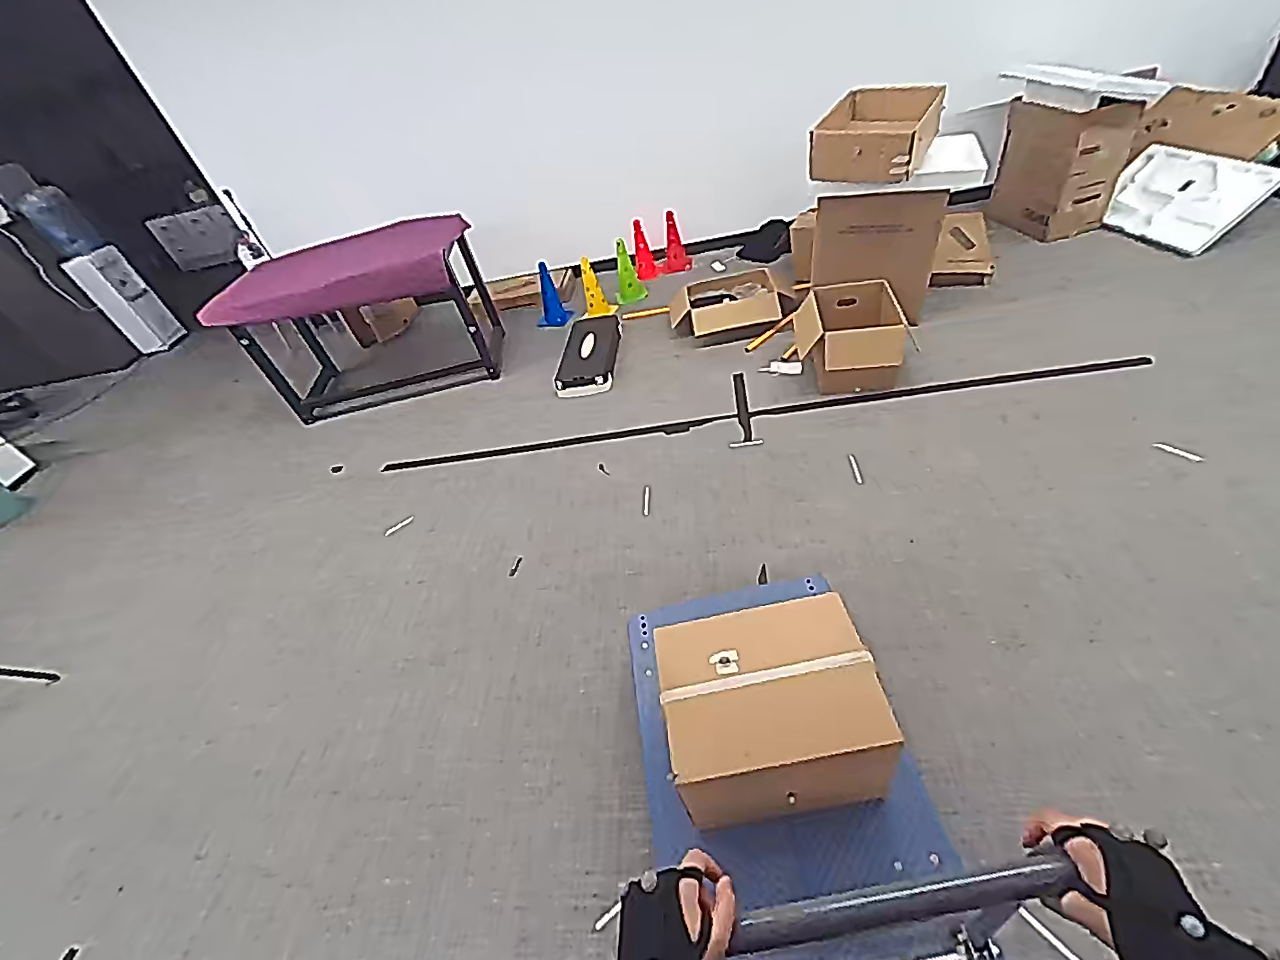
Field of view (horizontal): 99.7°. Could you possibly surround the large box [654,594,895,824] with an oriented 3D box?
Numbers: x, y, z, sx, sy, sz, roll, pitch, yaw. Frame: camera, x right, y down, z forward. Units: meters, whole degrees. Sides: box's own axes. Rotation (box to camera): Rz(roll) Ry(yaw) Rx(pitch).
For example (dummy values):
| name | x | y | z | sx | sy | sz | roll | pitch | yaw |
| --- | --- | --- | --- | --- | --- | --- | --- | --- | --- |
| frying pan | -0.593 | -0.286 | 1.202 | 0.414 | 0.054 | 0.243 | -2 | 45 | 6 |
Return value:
| name | x | y | z | sx | sy | sz | roll | pitch | yaw |
| --- | --- | --- | --- | --- | --- | --- | --- | --- | --- |
| large box | 0.272 | 0.497 | 1.167 | 0.408 | 0.320 | 0.320 | -14 | 42 | 4 |
